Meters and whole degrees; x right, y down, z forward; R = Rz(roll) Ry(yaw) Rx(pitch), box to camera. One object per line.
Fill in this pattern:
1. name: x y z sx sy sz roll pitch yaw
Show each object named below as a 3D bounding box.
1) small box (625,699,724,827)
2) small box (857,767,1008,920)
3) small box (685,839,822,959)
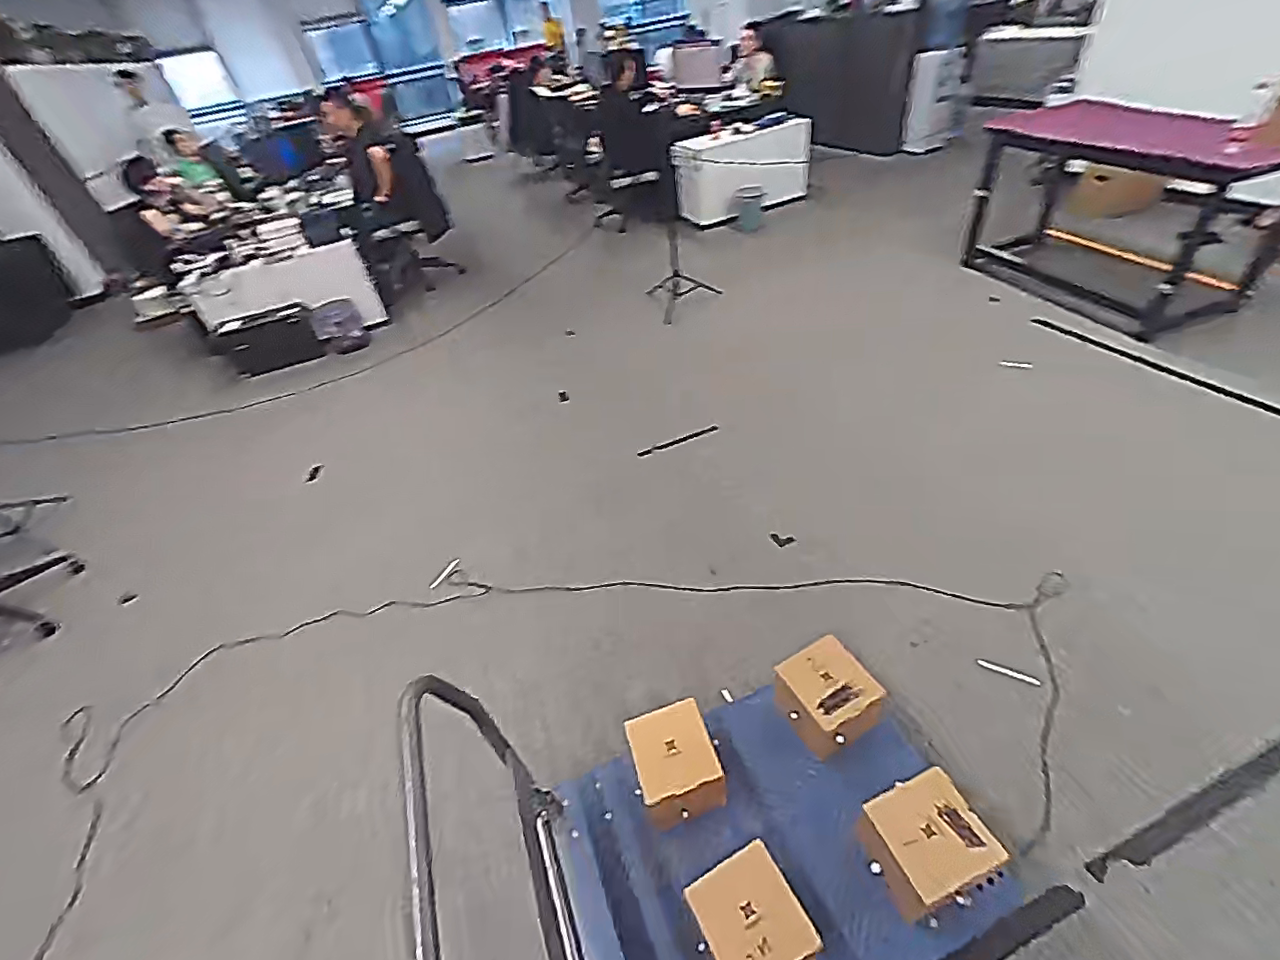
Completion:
1. small box: 0.076 0.623 1.189 0.168 0.176 0.179 -17 43 -8
2. small box: 0.535 0.684 1.019 0.179 0.176 0.168 -21 42 -10
3. small box: 0.198 0.798 0.966 0.168 0.176 0.179 -25 43 -15
